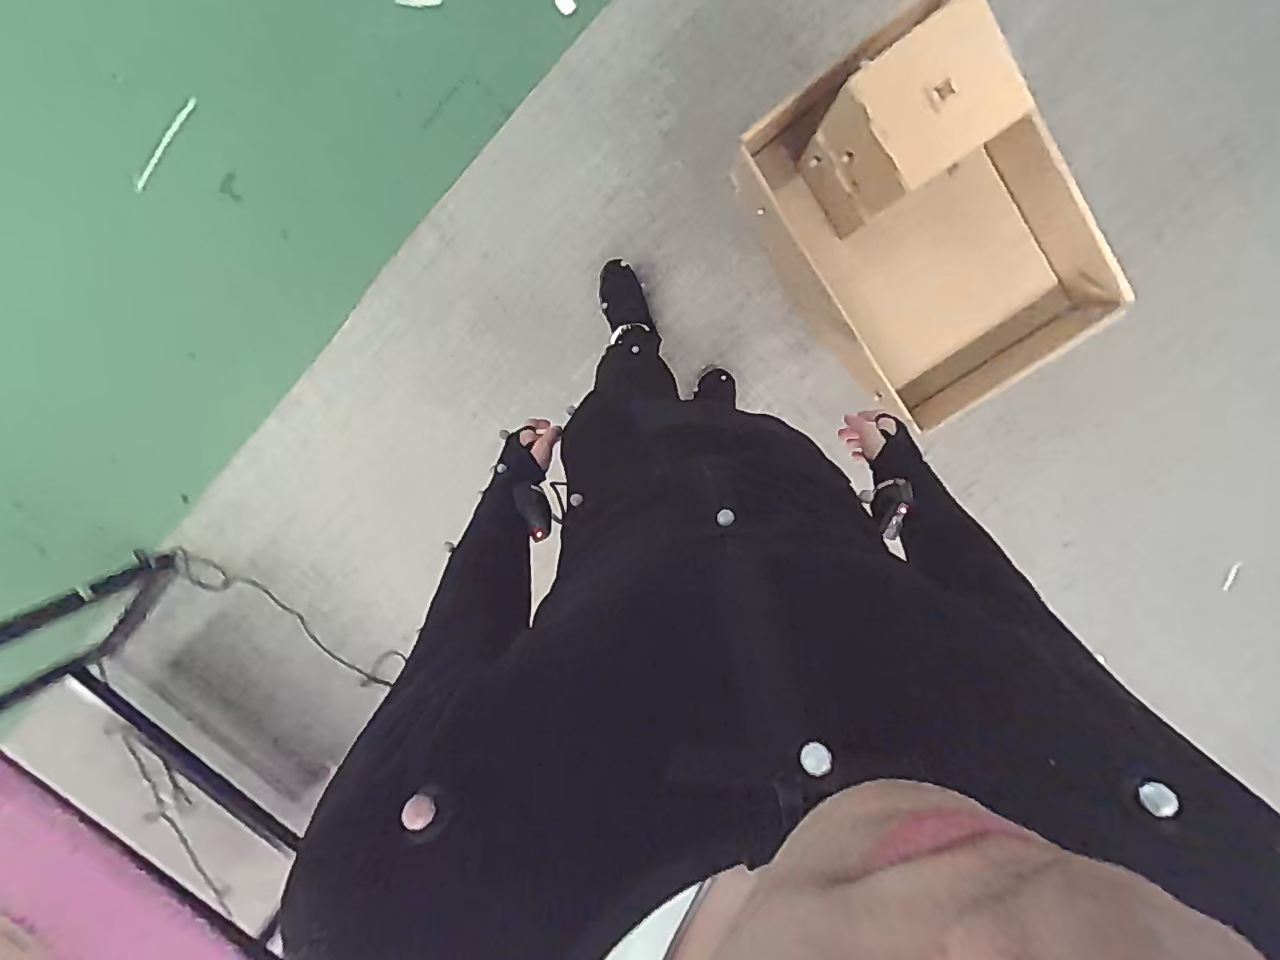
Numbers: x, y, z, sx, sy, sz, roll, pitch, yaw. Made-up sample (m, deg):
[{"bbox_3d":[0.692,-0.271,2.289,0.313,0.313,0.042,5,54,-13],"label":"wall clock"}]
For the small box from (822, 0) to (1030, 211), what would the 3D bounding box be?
[{"bbox_3d":[0.390,-0.517,0.767,0.179,0.176,0.168,-32,102,13],"label":"small box"}]

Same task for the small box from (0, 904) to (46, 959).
[{"bbox_3d":[-1.579,1.153,1.265,0.179,0.176,0.168,-39,101,13],"label":"small box"}]
